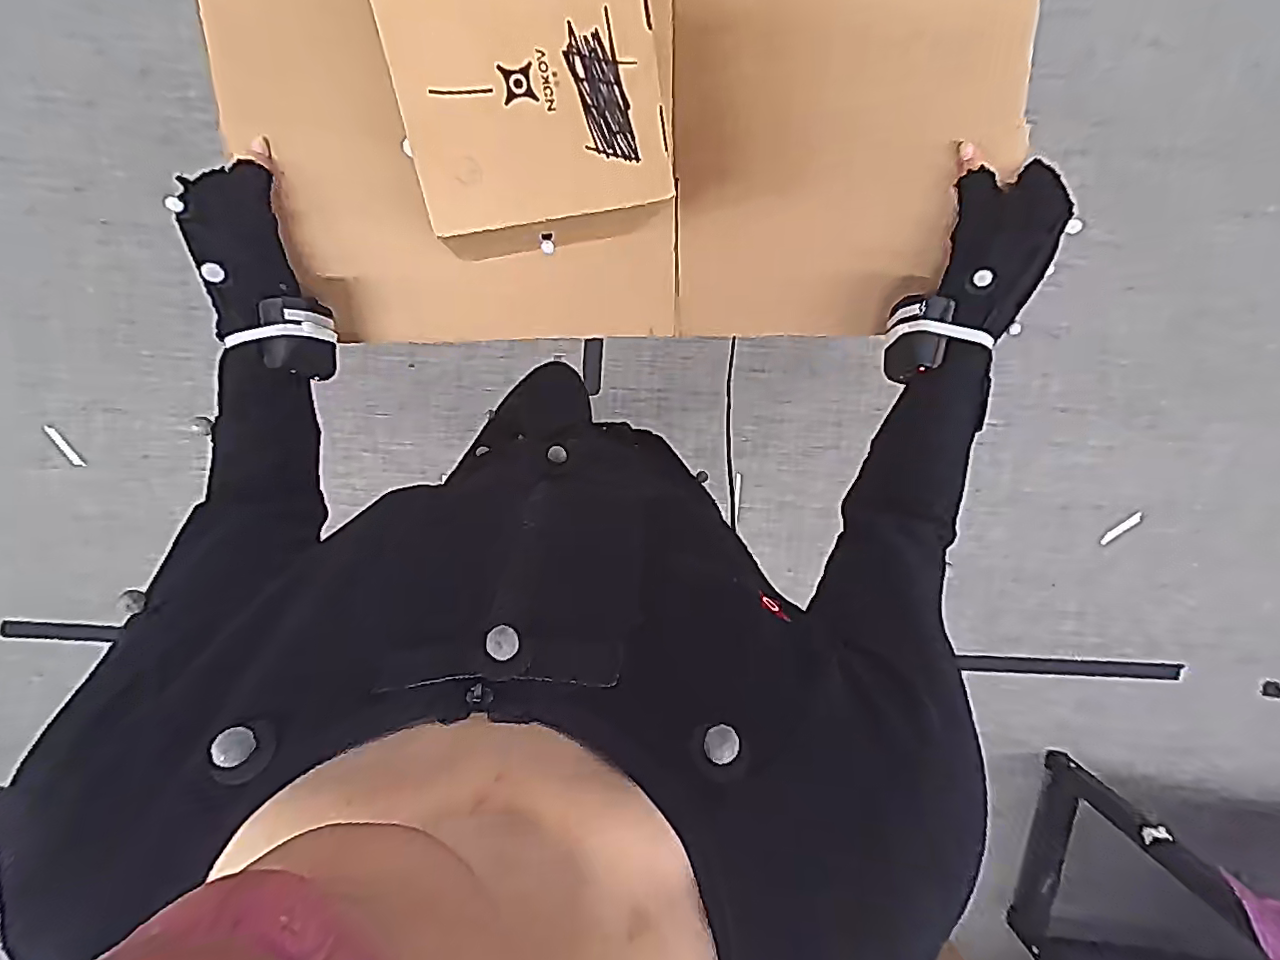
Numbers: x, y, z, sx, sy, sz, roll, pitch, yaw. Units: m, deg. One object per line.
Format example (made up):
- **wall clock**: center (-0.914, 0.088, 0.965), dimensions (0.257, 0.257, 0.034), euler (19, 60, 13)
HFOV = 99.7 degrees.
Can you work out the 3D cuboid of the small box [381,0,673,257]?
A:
- **small box**: center (-0.086, -0.289, 0.444), dimensions (0.179, 0.176, 0.168), euler (-13, 108, -7)
